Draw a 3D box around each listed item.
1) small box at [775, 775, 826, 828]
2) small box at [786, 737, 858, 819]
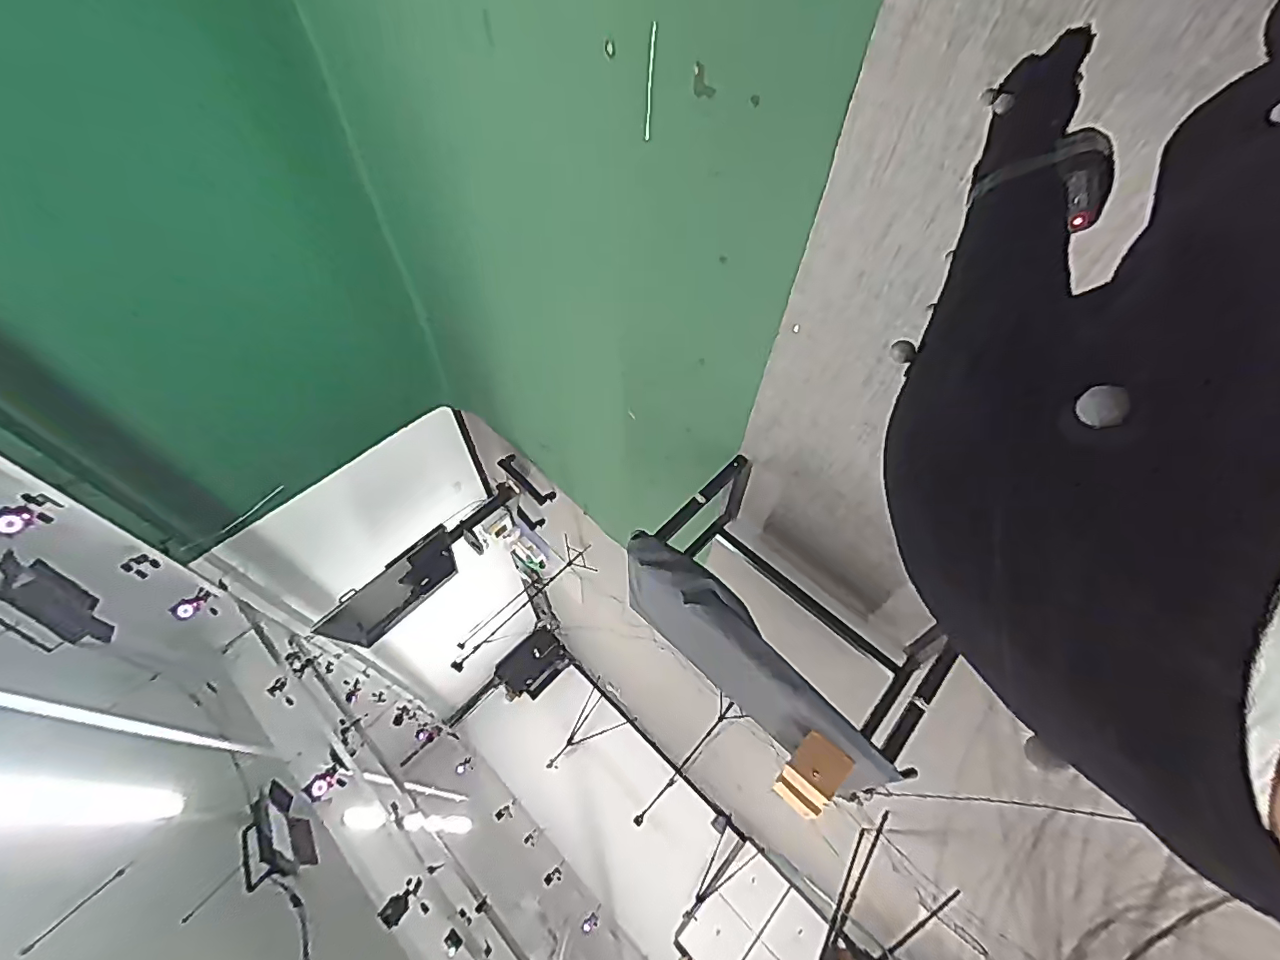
[{"bbox_3d":[0.671,1.237,2.145,0.179,0.176,0.168,39,153,24],"label":"small box"},{"bbox_3d":[0.651,1.061,1.931,0.179,0.176,0.168,35,151,32],"label":"small box"}]
